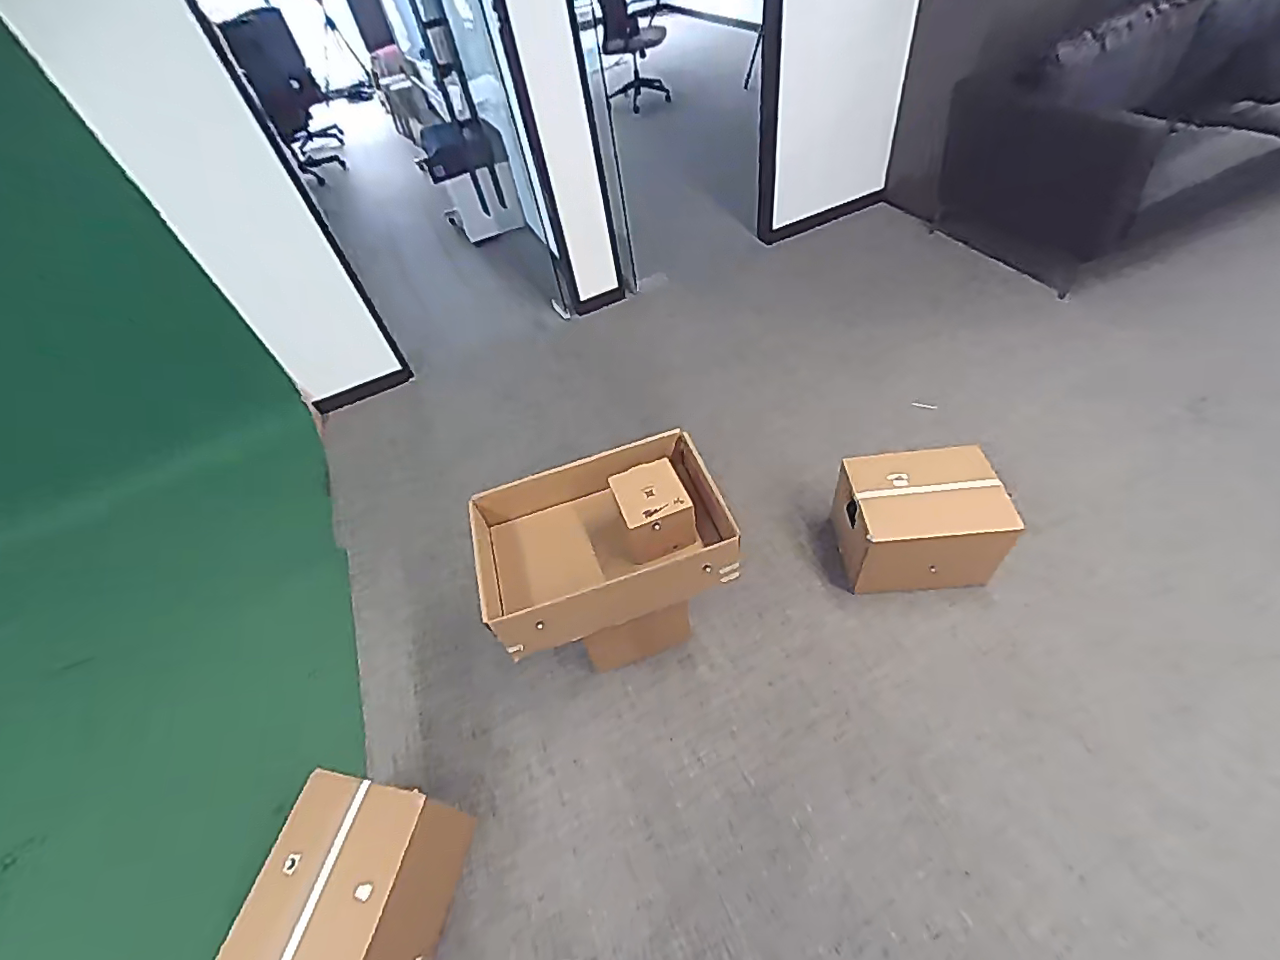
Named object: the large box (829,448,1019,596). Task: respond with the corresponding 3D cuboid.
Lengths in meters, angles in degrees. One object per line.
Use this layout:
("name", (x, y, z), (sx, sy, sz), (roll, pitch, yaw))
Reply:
("large box", (0.835, 0.136, 1.662), (0.408, 0.320, 0.320), (-6, 49, 6))
